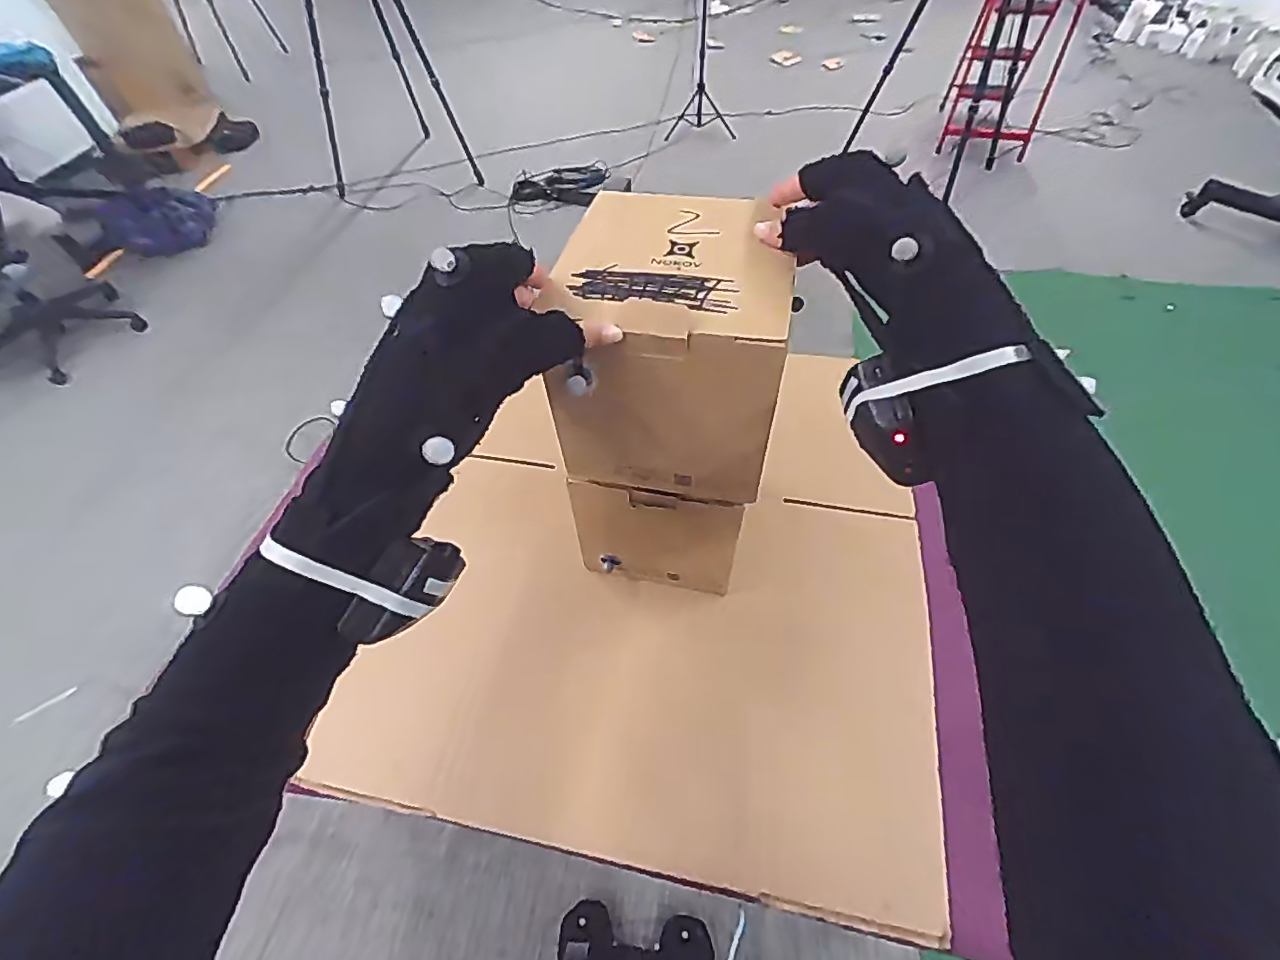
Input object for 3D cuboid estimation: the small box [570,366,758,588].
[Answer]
[{"bbox_3d":[0.033,0.000,0.594,0.168,0.176,0.179,7,53,7],"label":"small box"}]
